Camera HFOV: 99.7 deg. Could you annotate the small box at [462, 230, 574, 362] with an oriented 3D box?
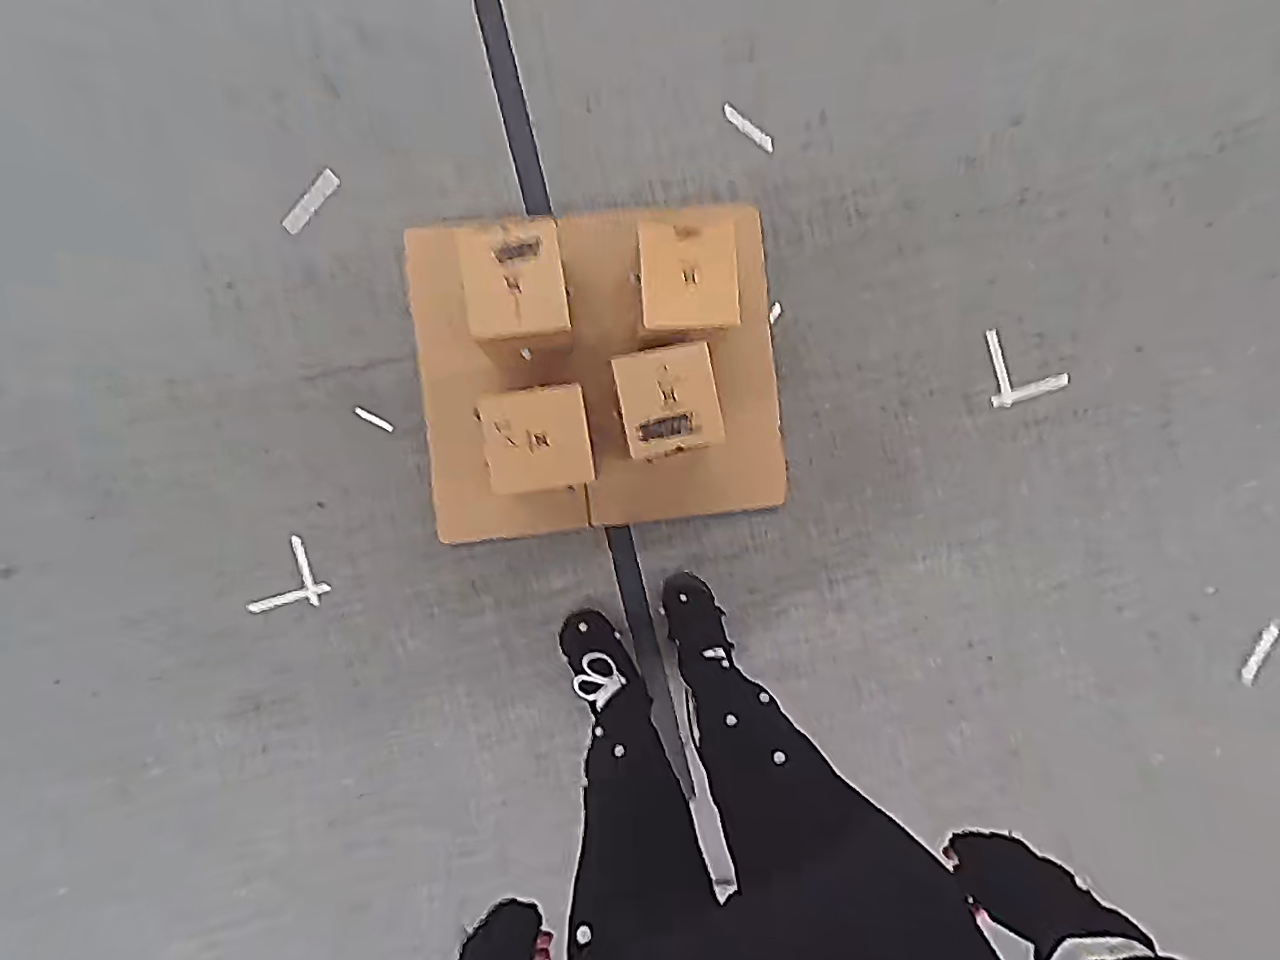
[{"bbox_3d":[-0.212,-0.323,0.976,0.168,0.176,0.179,-8,93,-5],"label":"small box"}]
